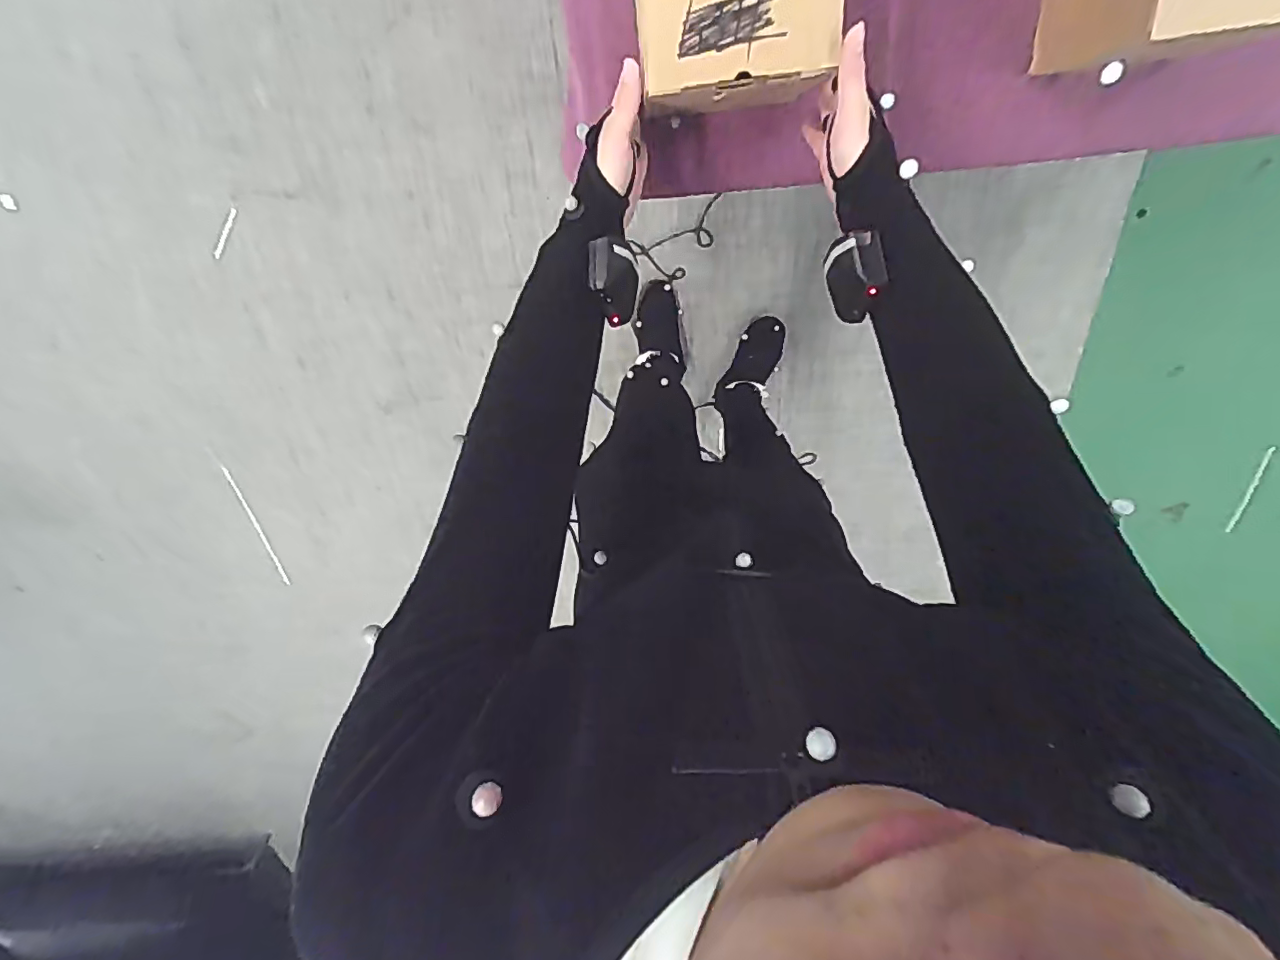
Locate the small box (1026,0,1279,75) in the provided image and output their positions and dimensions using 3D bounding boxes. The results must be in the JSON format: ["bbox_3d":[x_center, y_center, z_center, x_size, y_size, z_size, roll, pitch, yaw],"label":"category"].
[{"bbox_3d":[0.484,-0.488,0.476,0.168,0.176,0.179,-4,119,5],"label":"small box"}]

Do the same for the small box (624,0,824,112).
[{"bbox_3d":[0.069,-0.458,0.501,0.168,0.176,0.179,-5,117,4],"label":"small box"}]
